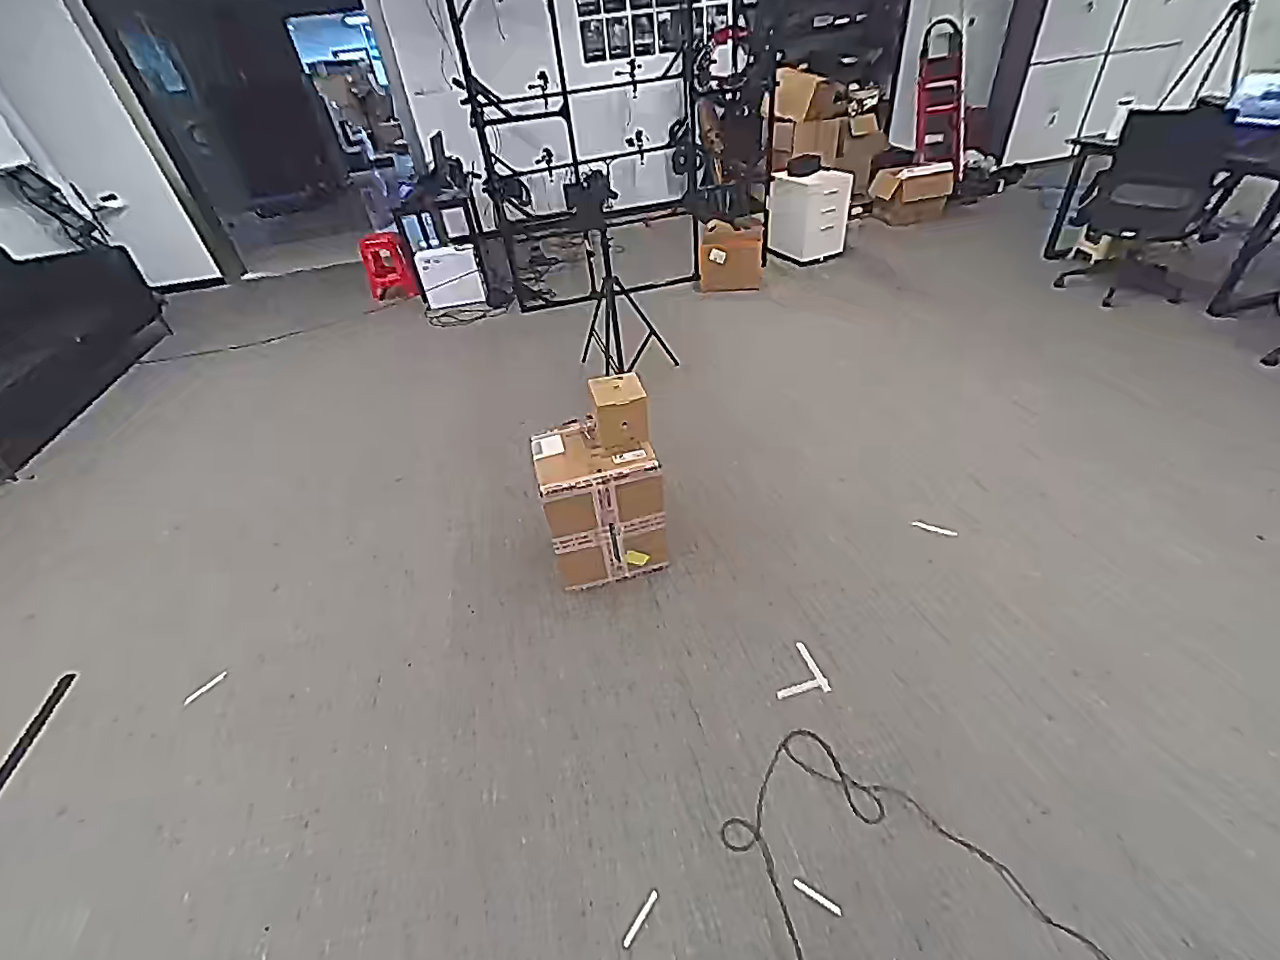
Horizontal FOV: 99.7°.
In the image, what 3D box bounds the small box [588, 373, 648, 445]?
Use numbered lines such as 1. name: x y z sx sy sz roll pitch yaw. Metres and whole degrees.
1. small box: -0.071 -0.232 1.813 0.168 0.176 0.179 -11 42 -9
